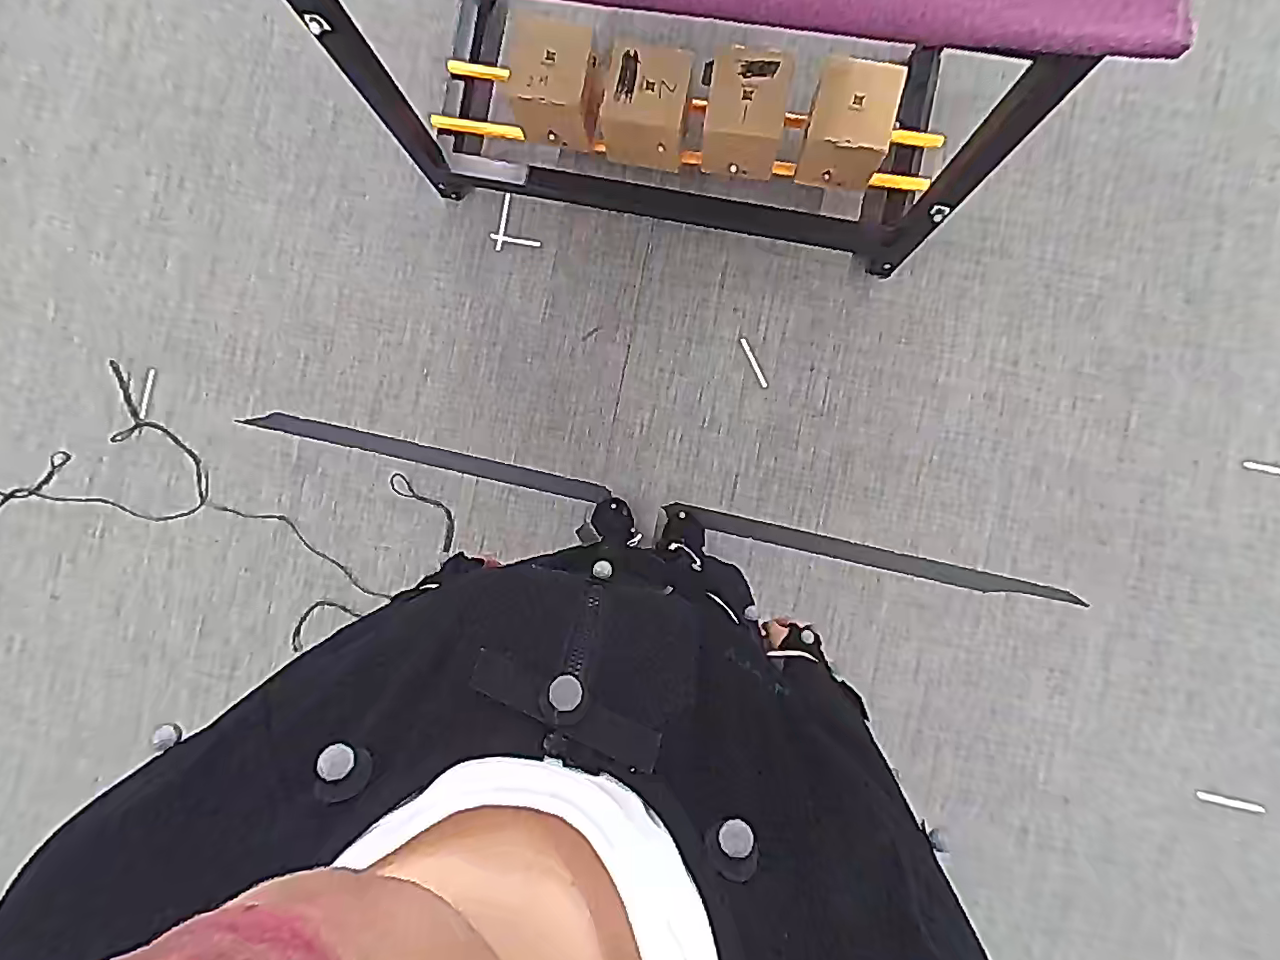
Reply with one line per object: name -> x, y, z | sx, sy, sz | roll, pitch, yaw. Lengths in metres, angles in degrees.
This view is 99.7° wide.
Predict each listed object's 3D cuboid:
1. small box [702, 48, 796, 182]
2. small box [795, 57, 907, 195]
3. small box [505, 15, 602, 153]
small box -> 0.232, -0.797, 1.195 | 0.168, 0.176, 0.179 | 10, 93, 4
small box -> 0.448, -0.762, 1.178 | 0.168, 0.176, 0.179 | 13, 92, 5
small box -> -0.186, -0.883, 1.218 | 0.168, 0.176, 0.179 | 12, 92, 4
